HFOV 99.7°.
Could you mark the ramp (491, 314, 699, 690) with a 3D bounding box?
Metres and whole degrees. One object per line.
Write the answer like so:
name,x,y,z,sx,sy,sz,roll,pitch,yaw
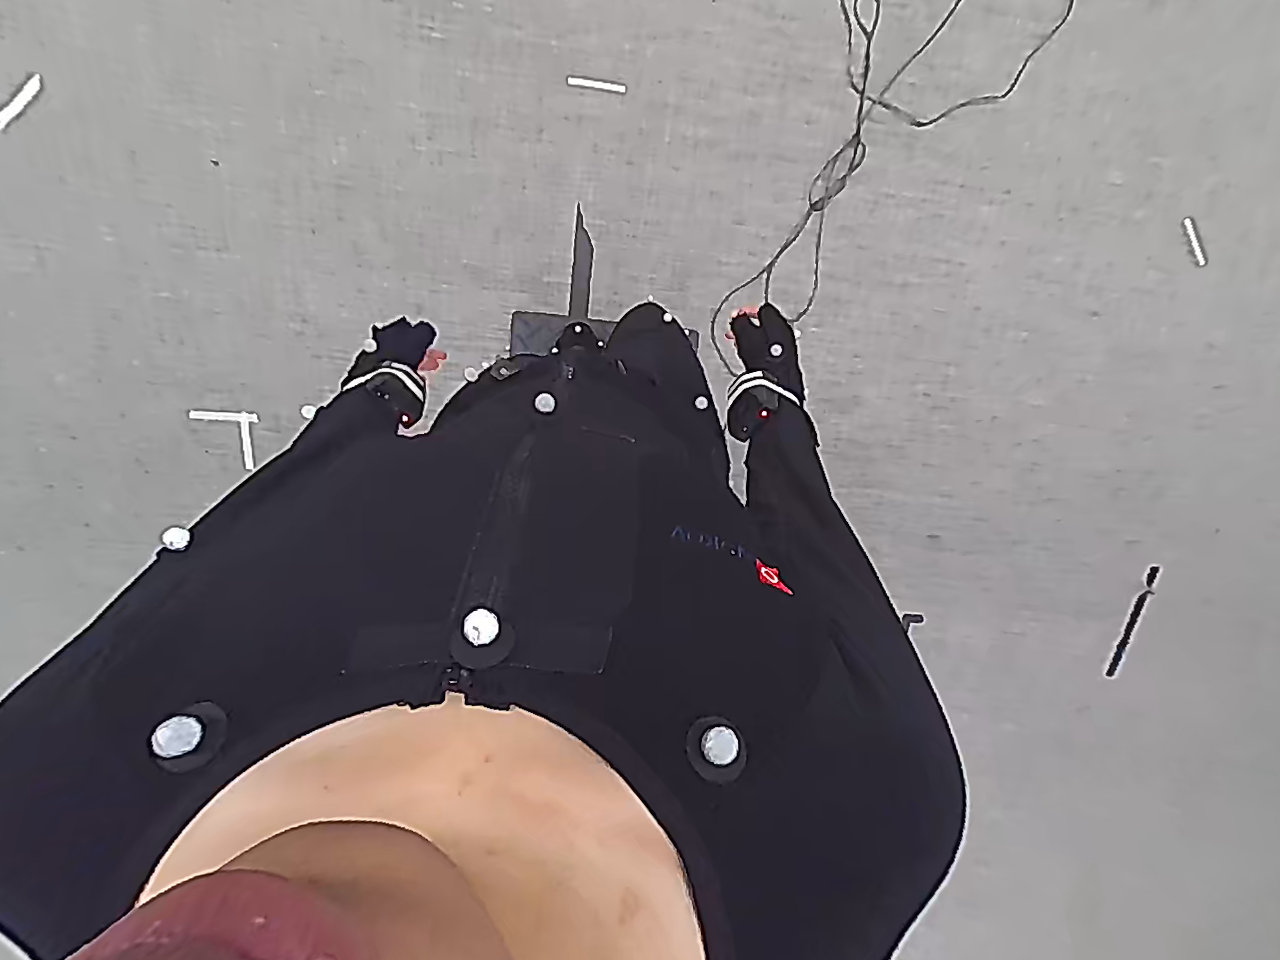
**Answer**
ramp,-0.129,0.078,1.467,0.509,0.206,0.991,4,105,-2
